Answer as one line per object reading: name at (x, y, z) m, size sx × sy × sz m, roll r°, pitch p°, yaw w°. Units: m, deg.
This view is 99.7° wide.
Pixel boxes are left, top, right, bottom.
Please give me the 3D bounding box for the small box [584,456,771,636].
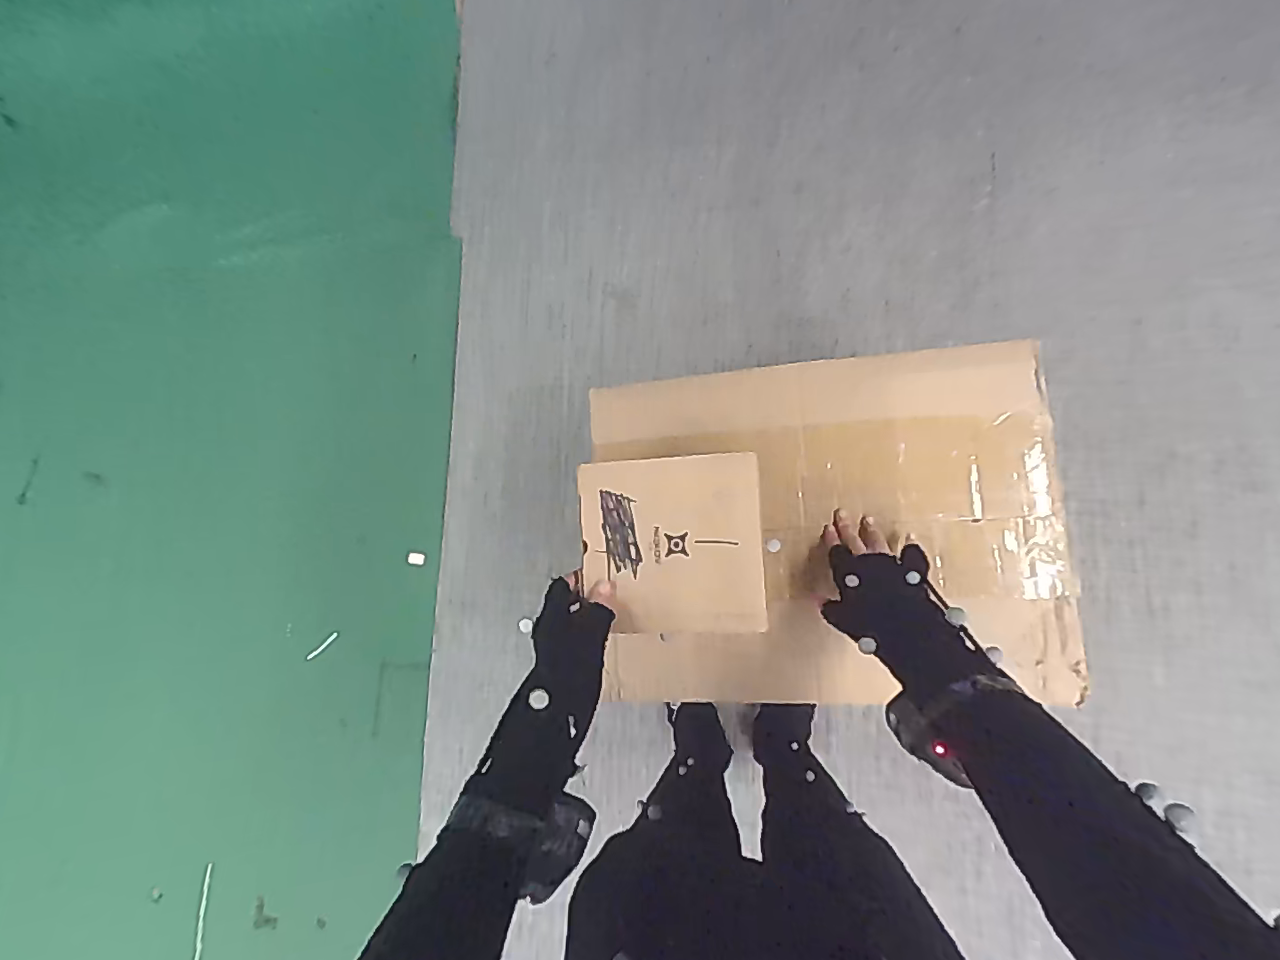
small box at (0.049, 0.073, 0.586) m, size 0.179 × 0.176 × 0.168 m, roll -4°, pitch 83°, yaw 12°
